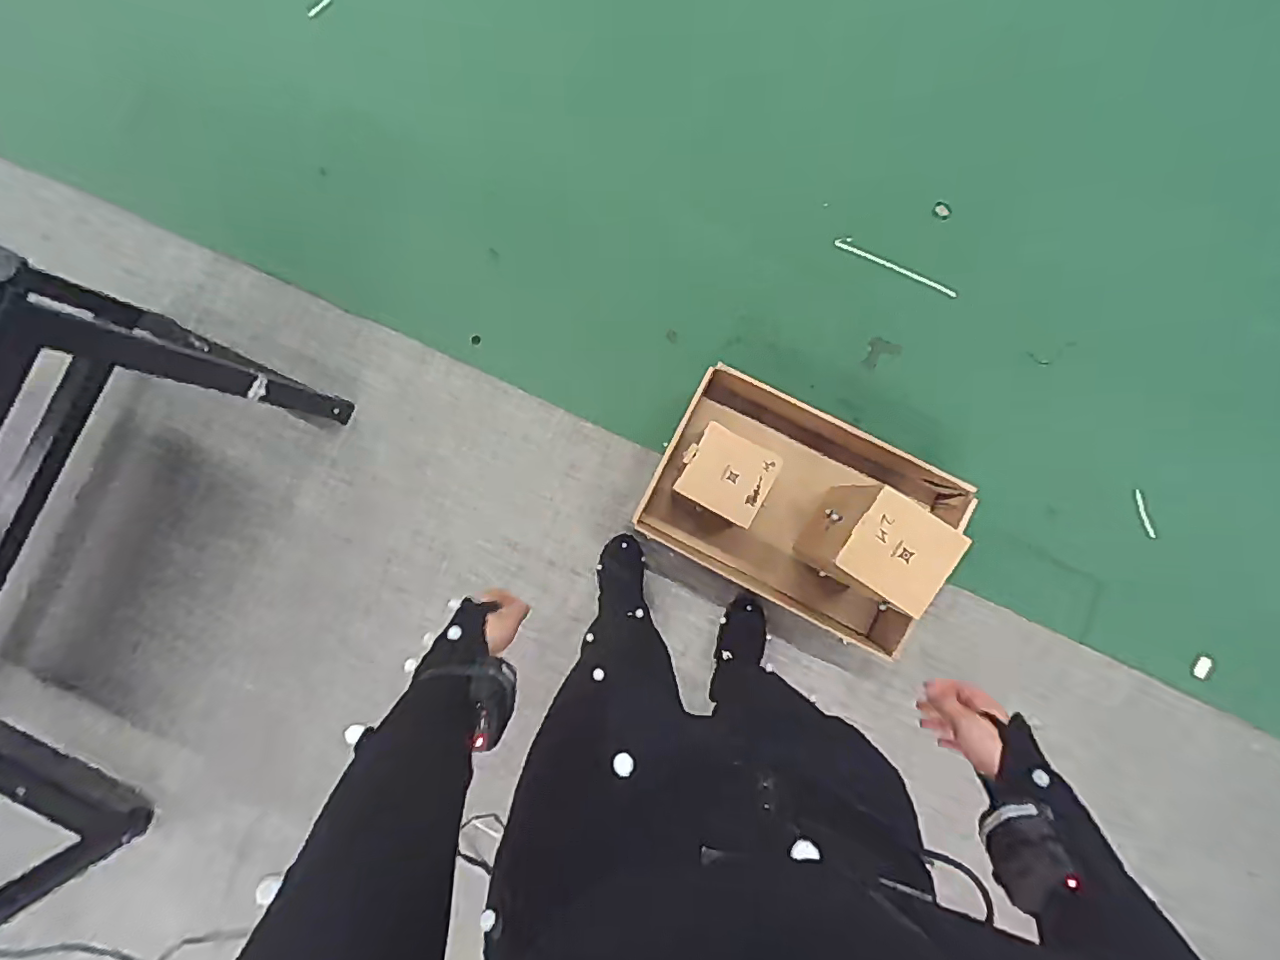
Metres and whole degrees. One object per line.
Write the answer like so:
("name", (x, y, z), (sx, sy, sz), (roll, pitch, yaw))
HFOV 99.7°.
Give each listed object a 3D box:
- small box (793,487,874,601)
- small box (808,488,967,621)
("small box", (0.453, 0.130, 1.167), (0.168, 0.176, 0.179), (34, 91, 3))
("small box", (0.445, 0.128, 1.002), (0.179, 0.176, 0.168), (35, 90, 3))
